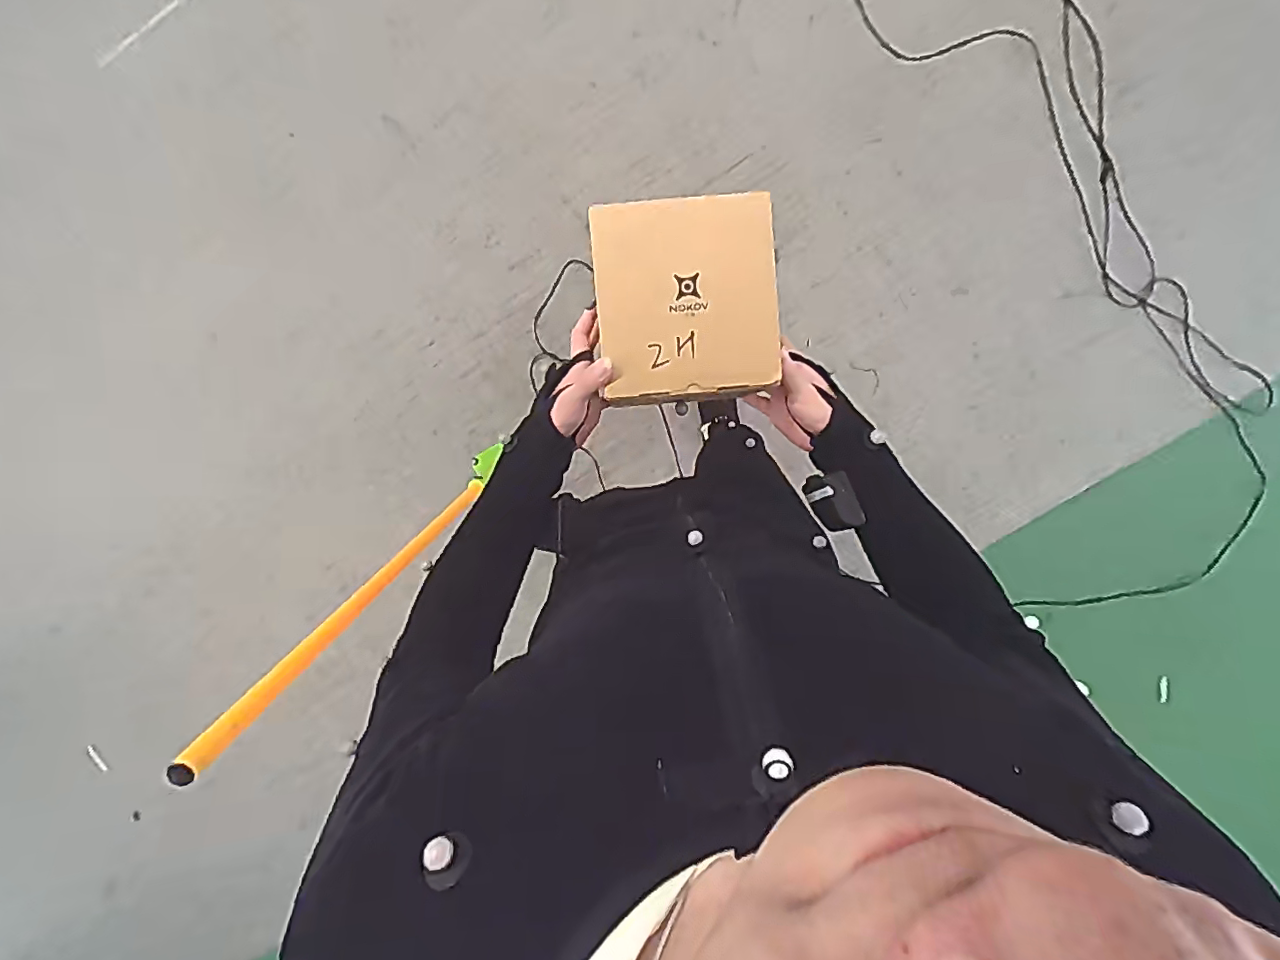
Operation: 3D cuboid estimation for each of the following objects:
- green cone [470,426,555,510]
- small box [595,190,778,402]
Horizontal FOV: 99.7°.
[{"bbox_3d":[-0.382,-0.011,1.447,0.202,0.368,0.200,-30,97,4],"label":"green cone"},{"bbox_3d":[0.041,-0.181,0.578,0.168,0.176,0.179,-4,95,0],"label":"small box"}]
